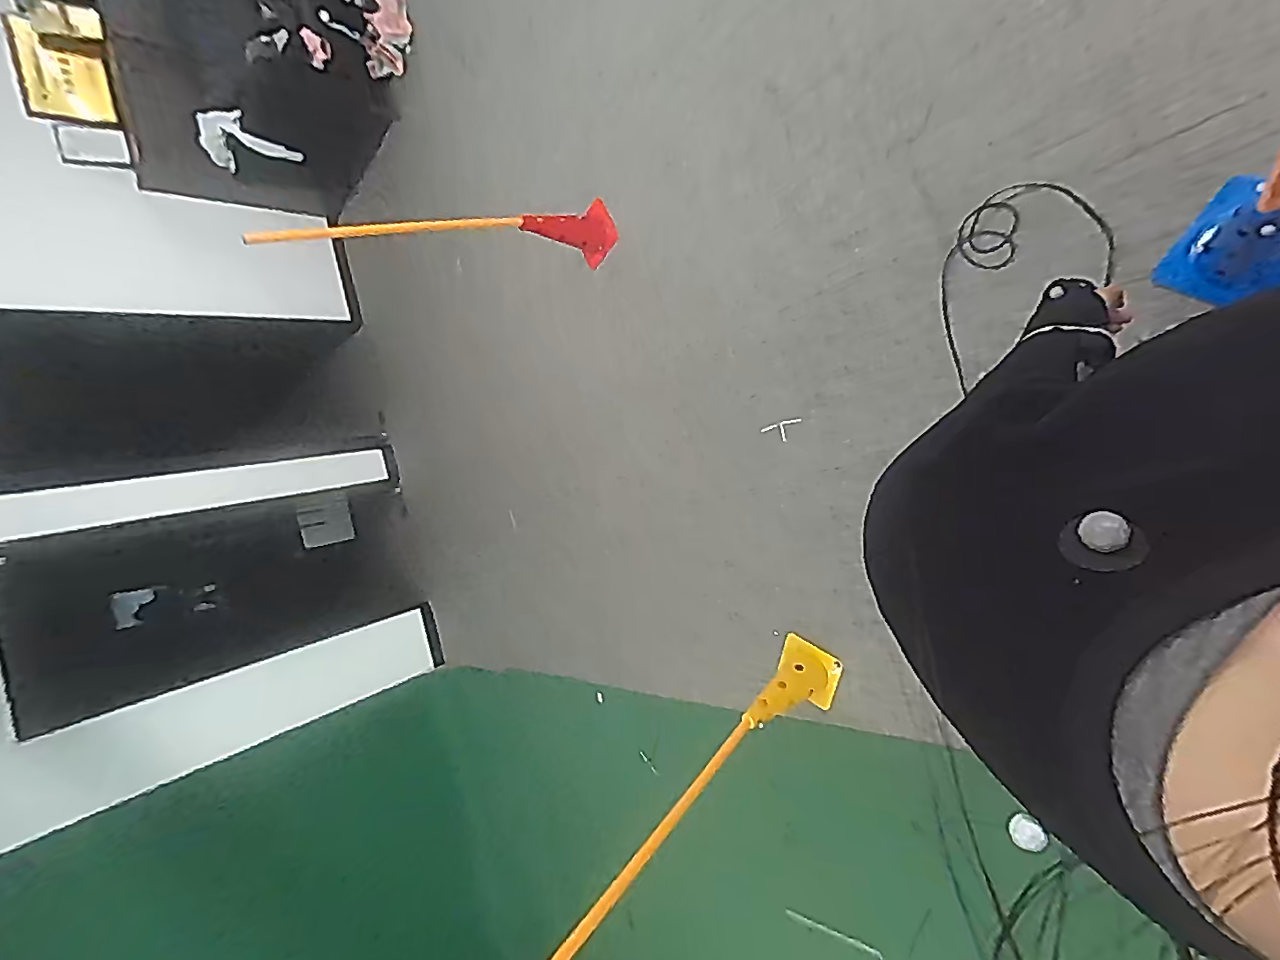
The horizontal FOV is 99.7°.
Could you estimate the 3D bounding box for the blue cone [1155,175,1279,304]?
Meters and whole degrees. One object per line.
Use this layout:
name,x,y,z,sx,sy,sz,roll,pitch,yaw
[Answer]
blue cone,0.972,-0.415,0.859,0.192,0.380,0.193,42,124,31
